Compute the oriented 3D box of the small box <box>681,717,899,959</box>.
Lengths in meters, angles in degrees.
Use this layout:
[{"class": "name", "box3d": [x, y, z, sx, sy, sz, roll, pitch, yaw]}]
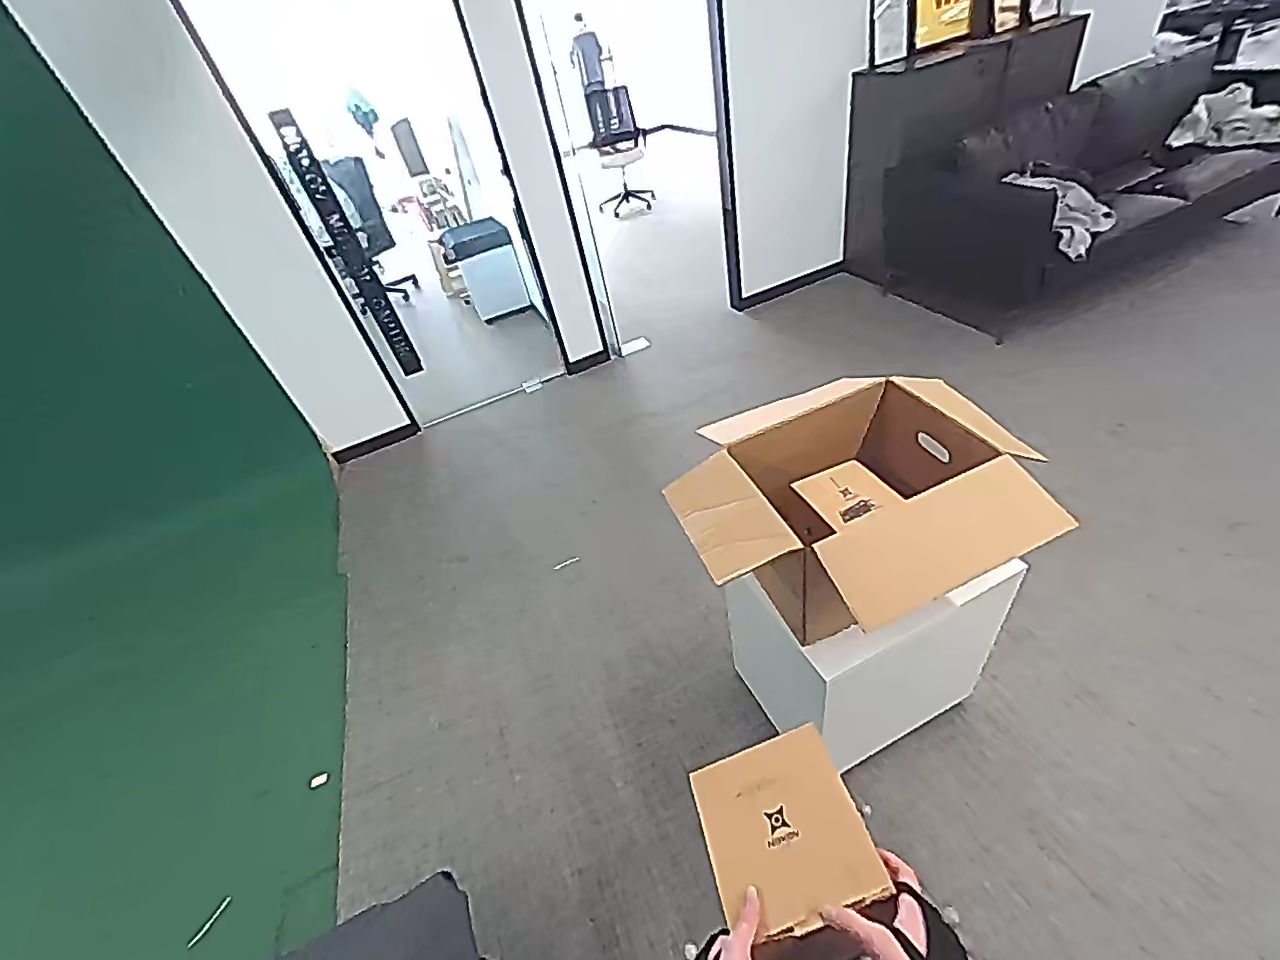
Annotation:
[{"class": "small box", "box3d": [0.168, 0.417, 0.616, 0.168, 0.176, 0.179, -25, 32, 3]}]
